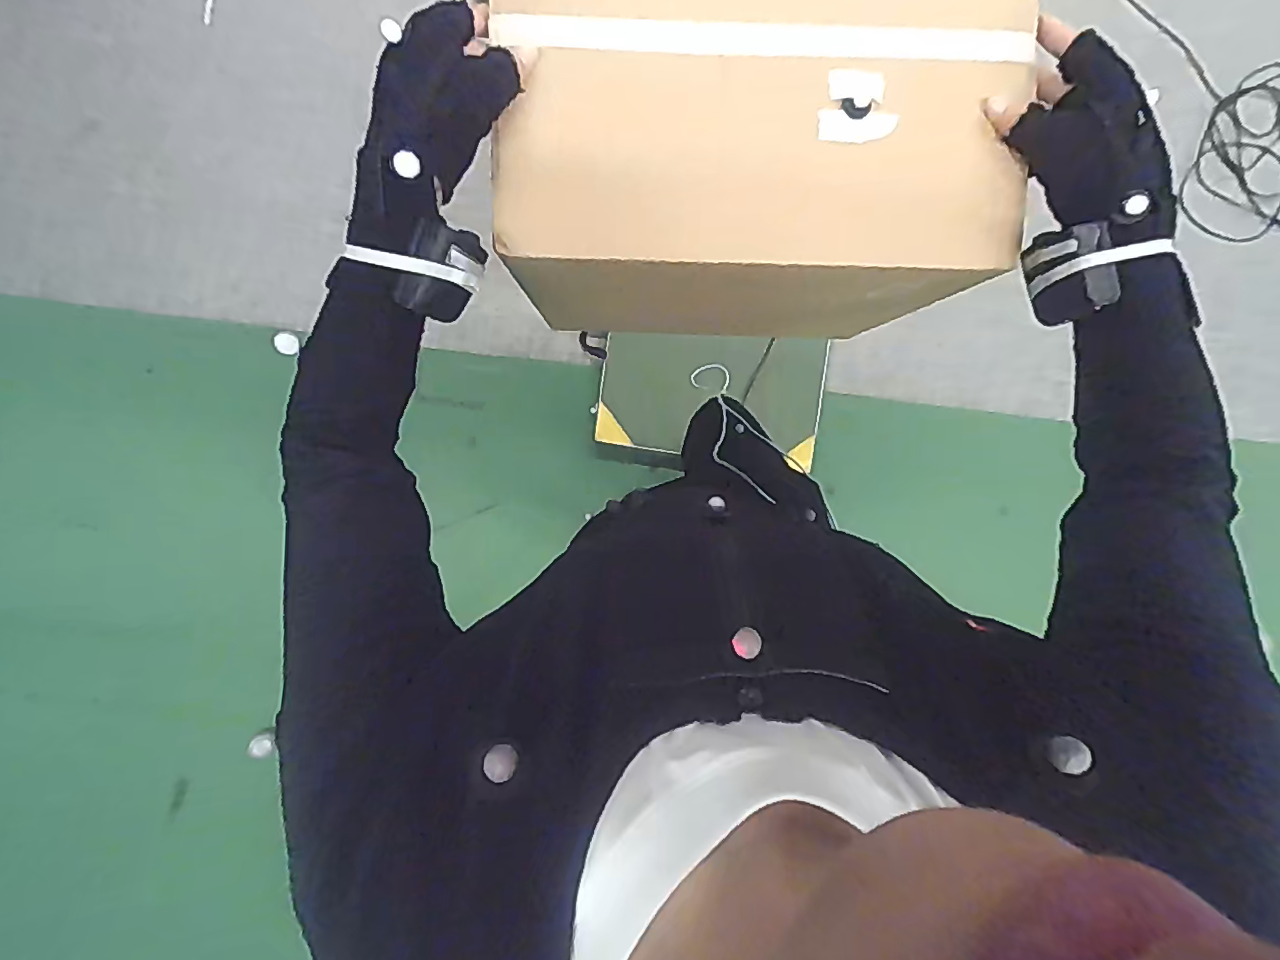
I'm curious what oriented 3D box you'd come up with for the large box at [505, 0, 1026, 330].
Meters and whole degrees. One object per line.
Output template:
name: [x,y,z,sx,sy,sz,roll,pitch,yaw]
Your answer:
large box: [0.089,-0.341,0.560,0.408,0.320,0.320,0,96,-3]
